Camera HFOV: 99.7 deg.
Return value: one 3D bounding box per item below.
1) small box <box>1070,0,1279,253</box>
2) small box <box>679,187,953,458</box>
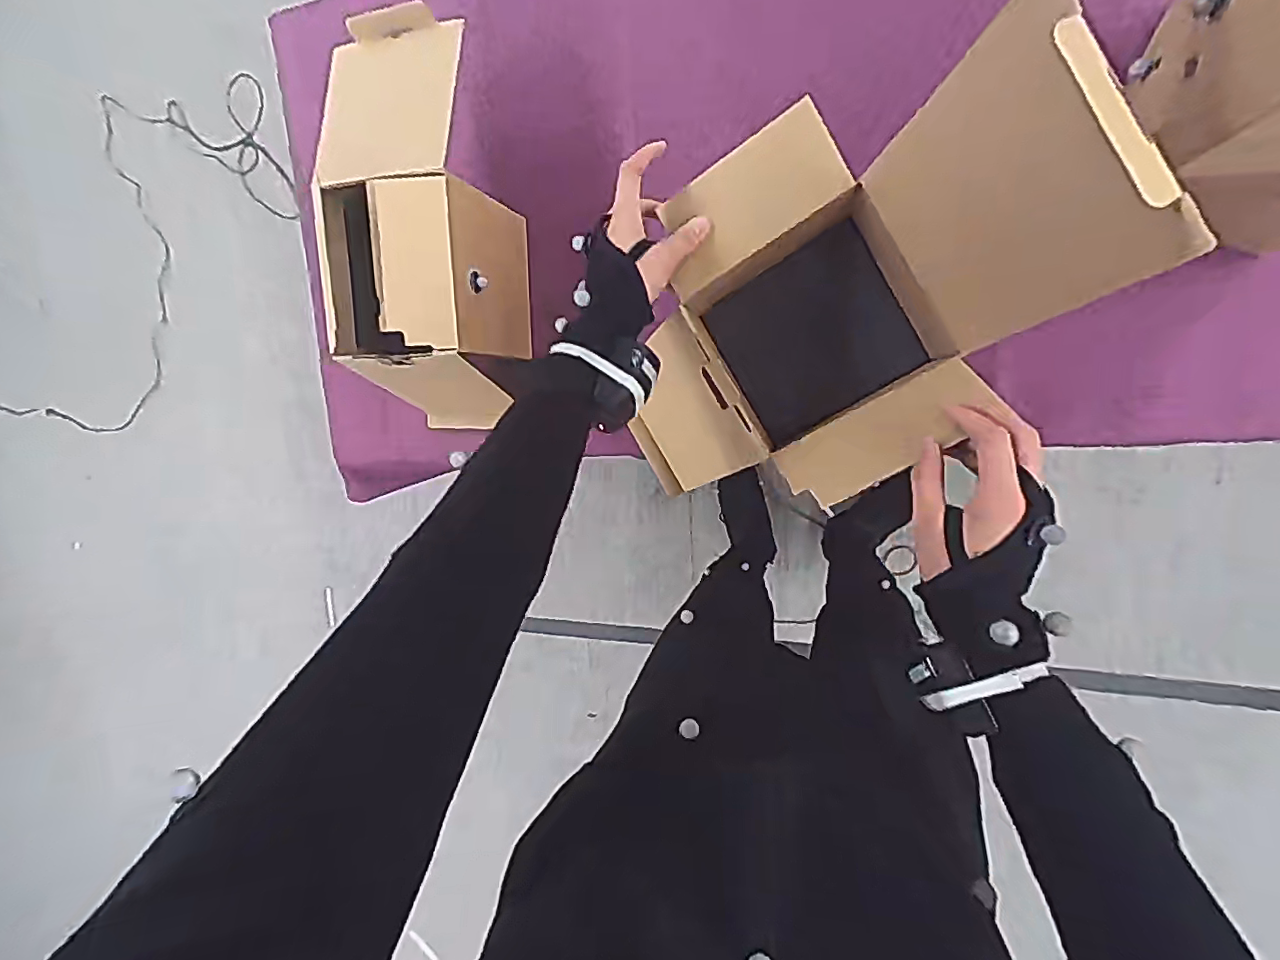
[{"bbox_3d":[0.492,-0.291,0.409,0.179,0.176,0.168,26,105,11],"label":"small box"},{"bbox_3d":[0.166,-0.138,0.535,0.179,0.176,0.168,-29,91,18],"label":"small box"}]
